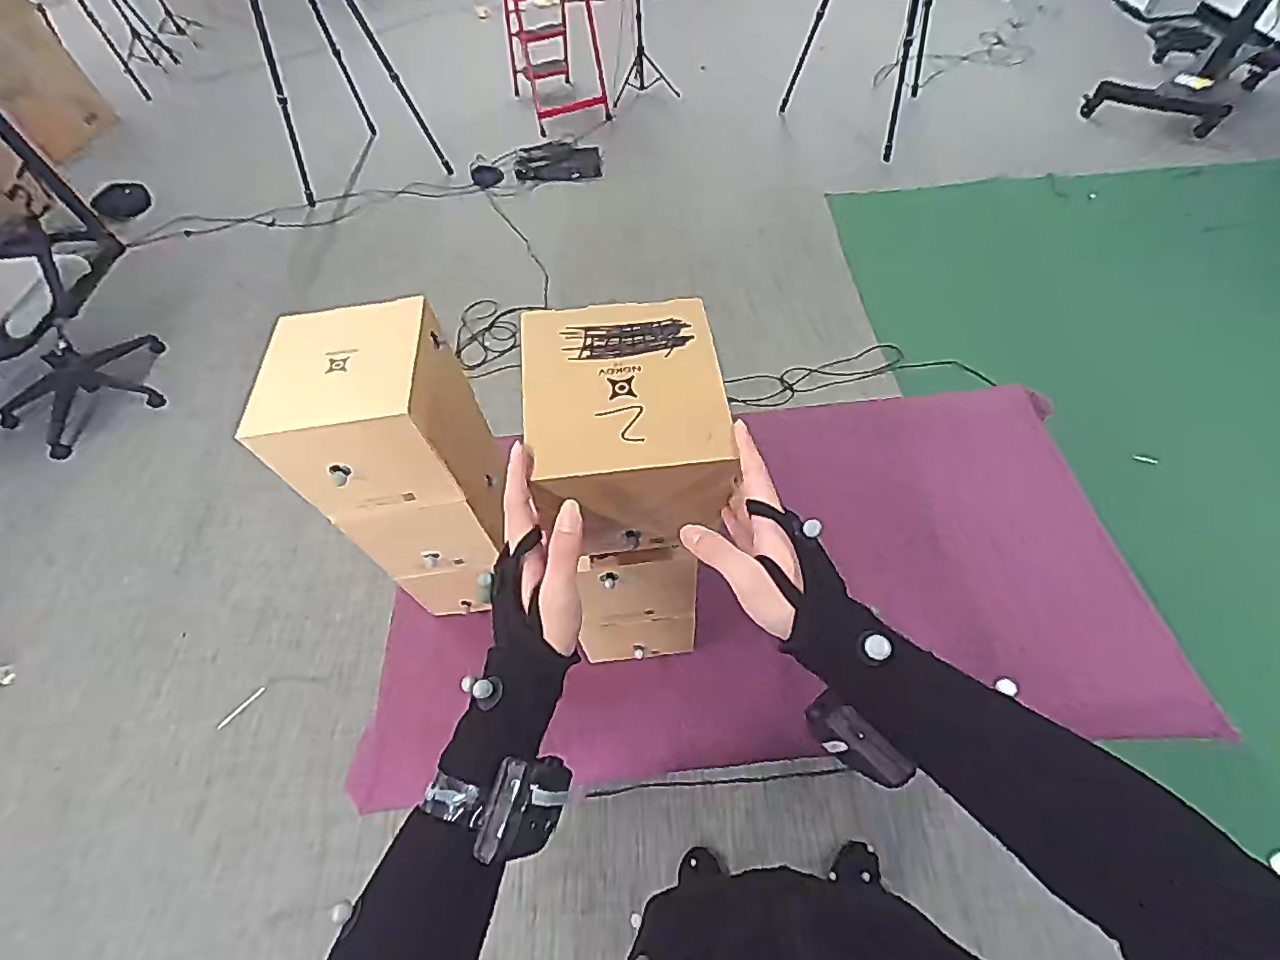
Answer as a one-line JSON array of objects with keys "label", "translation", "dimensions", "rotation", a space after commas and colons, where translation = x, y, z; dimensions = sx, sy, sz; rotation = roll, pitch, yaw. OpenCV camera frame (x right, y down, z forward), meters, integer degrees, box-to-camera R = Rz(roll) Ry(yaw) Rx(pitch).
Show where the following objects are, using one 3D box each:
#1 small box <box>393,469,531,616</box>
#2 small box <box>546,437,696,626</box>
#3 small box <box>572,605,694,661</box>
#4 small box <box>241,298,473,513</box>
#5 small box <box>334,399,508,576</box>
[{"label": "small box", "translation": [-0.280, 0.105, 0.892], "dimensions": [0.168, 0.176, 0.179], "rotation": [-8, 57, 0]}, {"label": "small box", "translation": [-0.022, 0.069, 0.698], "dimensions": [0.168, 0.176, 0.179], "rotation": [-7, 55, 1]}, {"label": "small box", "translation": [-0.011, 0.162, 0.833], "dimensions": [0.168, 0.176, 0.179], "rotation": [-7, 56, 1]}, {"label": "small box", "translation": [-0.301, -0.075, 0.622], "dimensions": [0.168, 0.176, 0.179], "rotation": [-9, 56, 0]}, {"label": "small box", "translation": [-0.289, 0.014, 0.757], "dimensions": [0.168, 0.176, 0.179], "rotation": [-8, 57, 0]}]
